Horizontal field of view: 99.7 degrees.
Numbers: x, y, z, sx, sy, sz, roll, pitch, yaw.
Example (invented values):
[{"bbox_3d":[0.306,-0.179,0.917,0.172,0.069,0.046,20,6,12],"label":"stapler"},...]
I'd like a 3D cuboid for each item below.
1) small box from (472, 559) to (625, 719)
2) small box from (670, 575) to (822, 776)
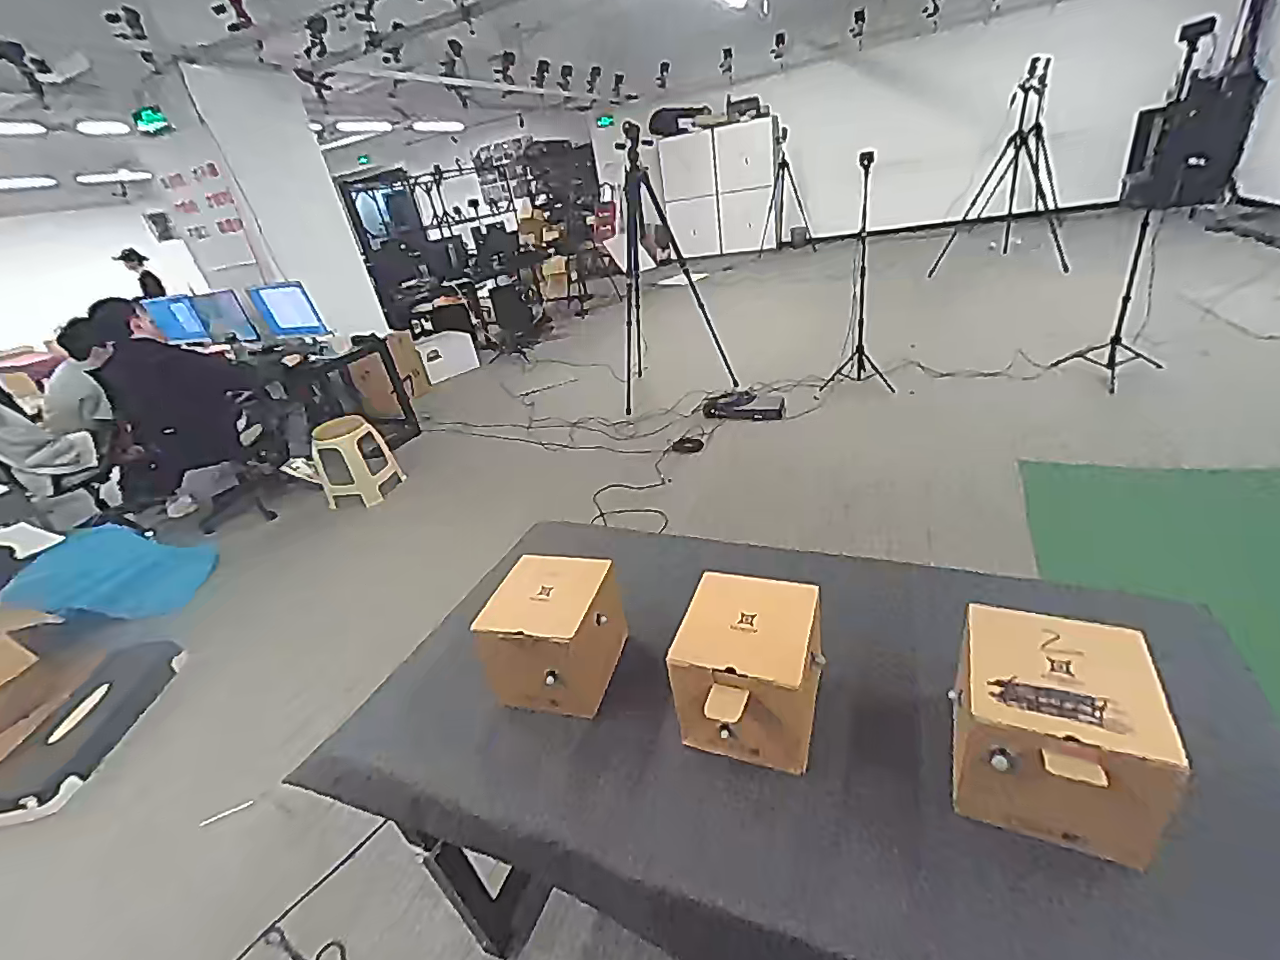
[{"bbox_3d":[-0.132,0.248,0.860,0.168,0.176,0.179,1,29,18],"label":"small box"},{"bbox_3d":[0.153,0.260,0.743,0.168,0.176,0.179,4,32,24],"label":"small box"}]
